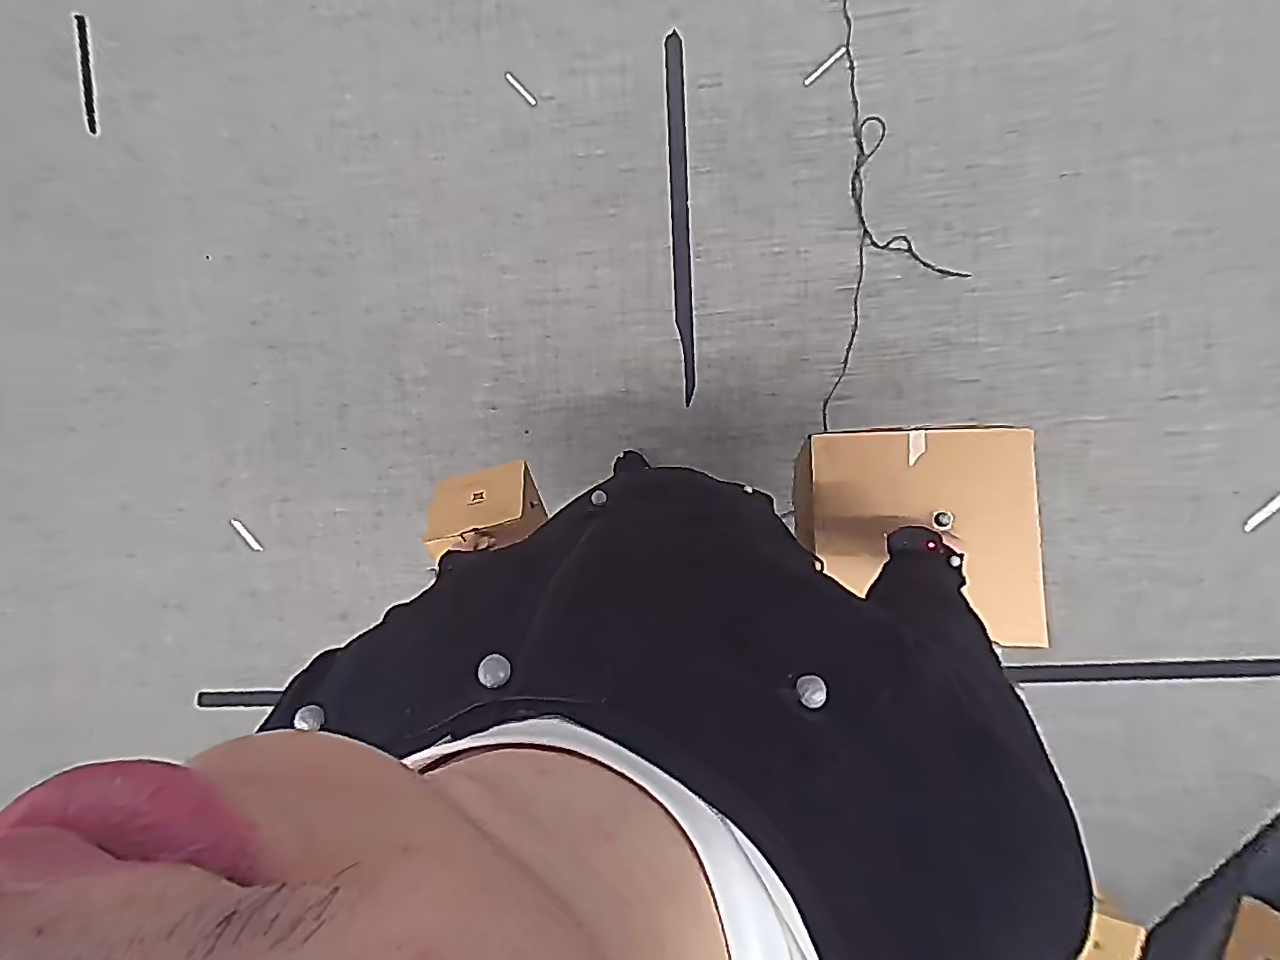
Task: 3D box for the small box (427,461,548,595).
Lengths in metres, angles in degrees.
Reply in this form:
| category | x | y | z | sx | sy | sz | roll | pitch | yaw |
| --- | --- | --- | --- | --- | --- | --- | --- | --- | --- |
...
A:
| category | x | y | z | sx | sy | sz | roll | pitch | yaw |
| --- | --- | --- | --- | --- | --- | --- | --- | --- | --- |
| small box | -0.273 | 0.095 | 1.009 | 0.168 | 0.179 | 0.176 | -13 | 128 | -1 |
